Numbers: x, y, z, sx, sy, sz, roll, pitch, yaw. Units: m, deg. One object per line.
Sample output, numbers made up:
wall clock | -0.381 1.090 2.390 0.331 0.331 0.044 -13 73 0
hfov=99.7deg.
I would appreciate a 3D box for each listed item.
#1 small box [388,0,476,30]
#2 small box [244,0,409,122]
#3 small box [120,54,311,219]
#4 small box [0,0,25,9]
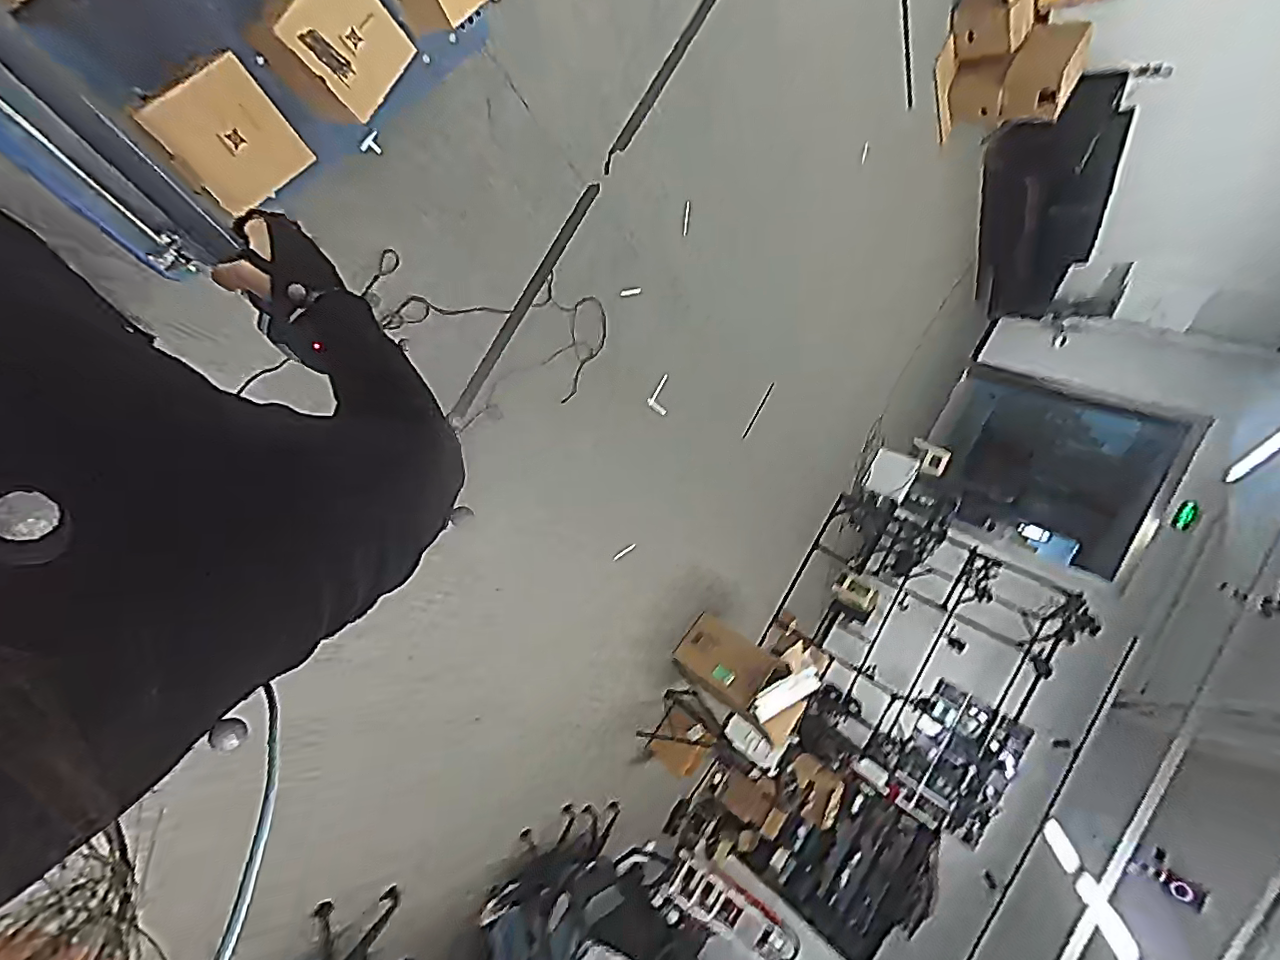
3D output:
small box | -0.397 -0.982 1.007 0.179 0.176 0.168 -54 145 -13
small box | -0.553 -0.766 0.948 0.179 0.176 0.168 -60 146 -6
small box | -0.701 -0.563 0.893 0.179 0.176 0.168 -51 145 -16
small box | -0.801 -0.716 0.655 0.179 0.176 0.168 -54 146 -12
